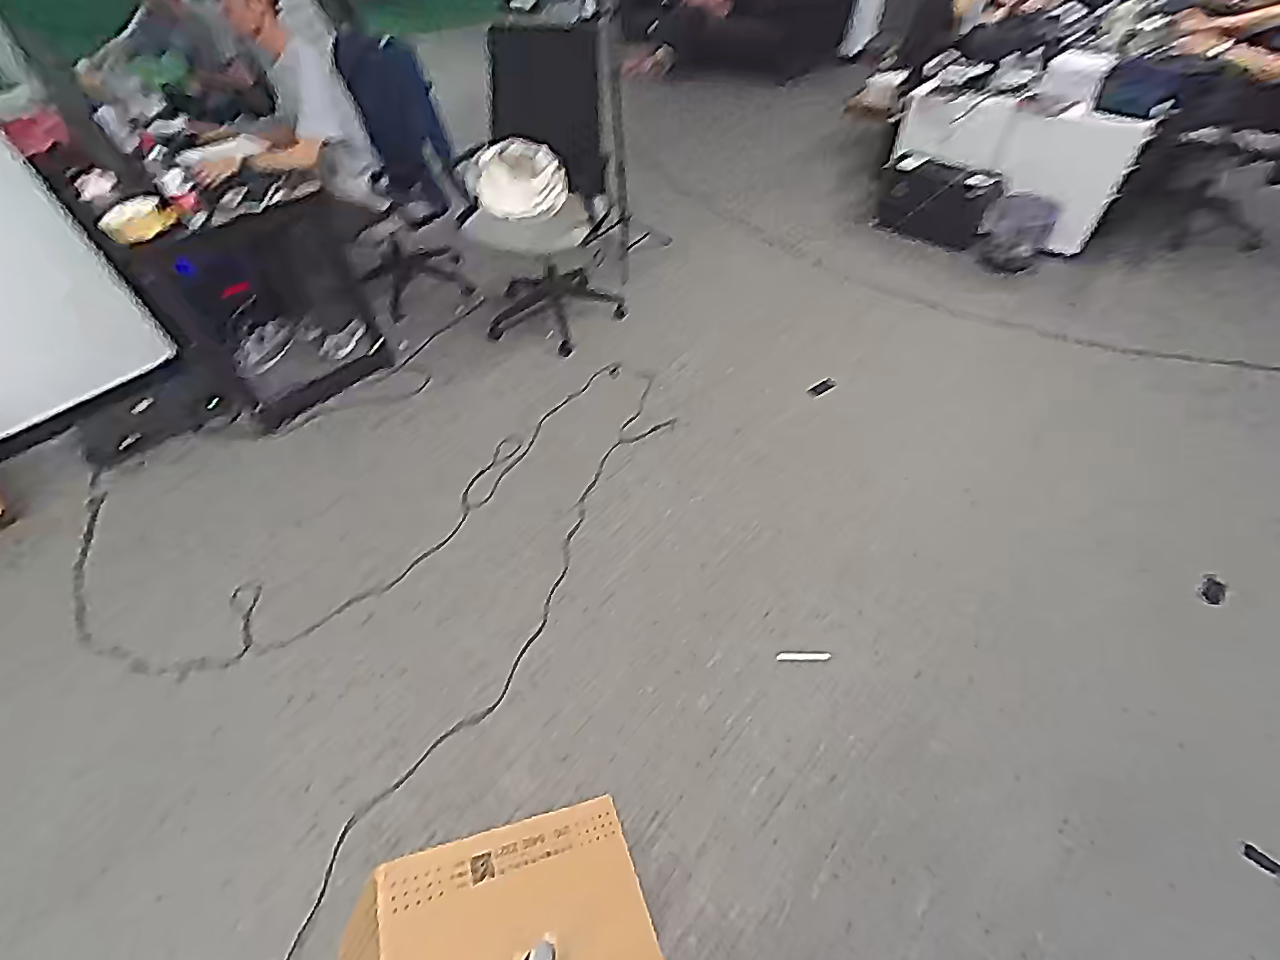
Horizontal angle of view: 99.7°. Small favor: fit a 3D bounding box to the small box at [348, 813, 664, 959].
[{"bbox_3d":[-0.091,0.350,0.357,0.168,0.179,0.176,4,42,-33],"label":"small box"}]
